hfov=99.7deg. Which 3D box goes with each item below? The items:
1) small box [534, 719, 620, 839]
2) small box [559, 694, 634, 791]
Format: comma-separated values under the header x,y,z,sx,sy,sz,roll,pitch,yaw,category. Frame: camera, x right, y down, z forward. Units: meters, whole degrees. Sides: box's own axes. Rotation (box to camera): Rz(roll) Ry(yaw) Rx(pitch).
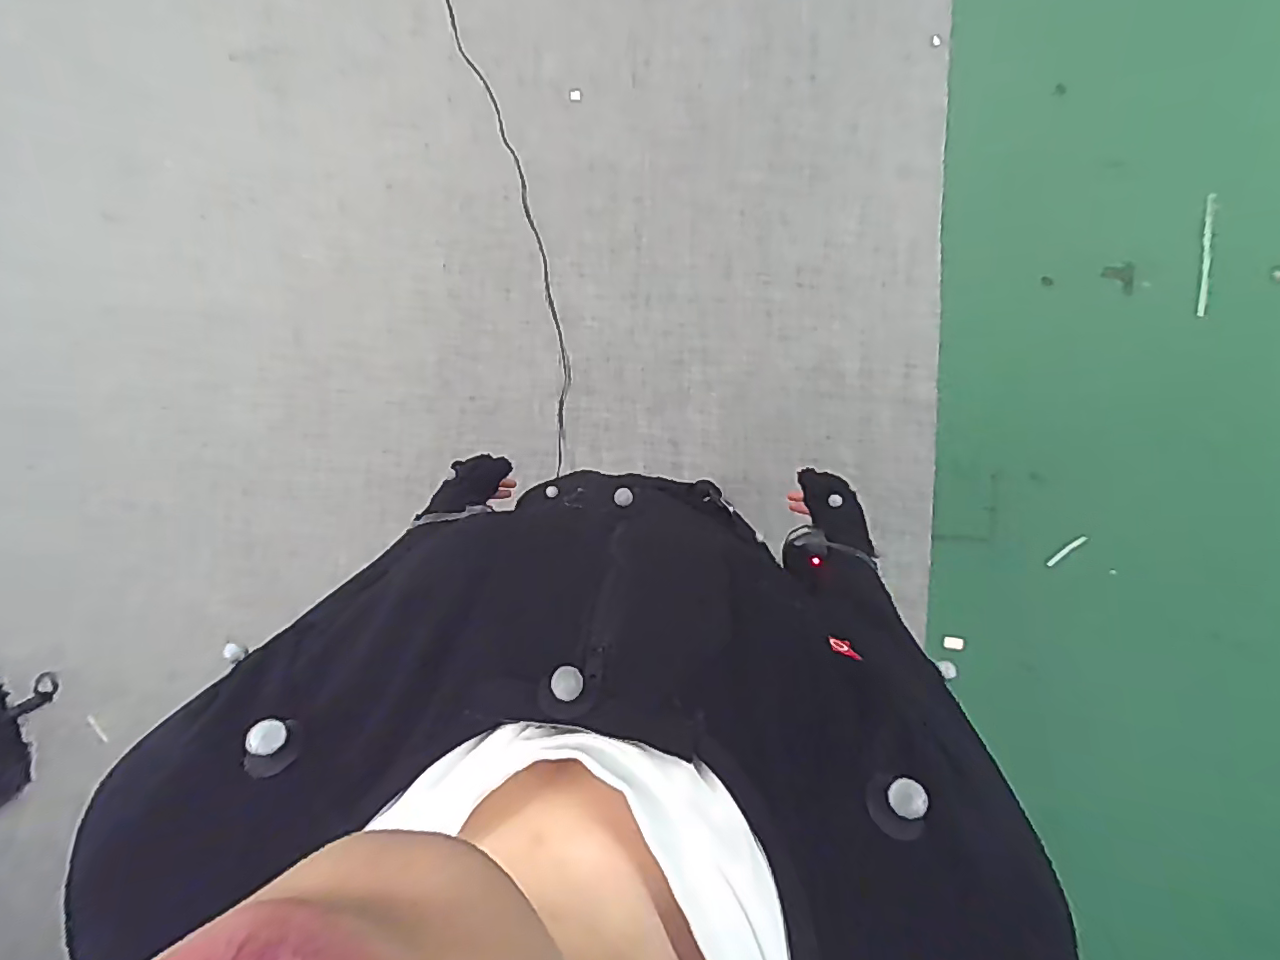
x,y,z,sx,sy,sz,roll,pitch,yaw,category
-0.137,0.675,1.235,0.168,0.176,0.179,4,89,2,small box
-0.113,0.667,1.395,0.179,0.176,0.168,4,90,2,small box
